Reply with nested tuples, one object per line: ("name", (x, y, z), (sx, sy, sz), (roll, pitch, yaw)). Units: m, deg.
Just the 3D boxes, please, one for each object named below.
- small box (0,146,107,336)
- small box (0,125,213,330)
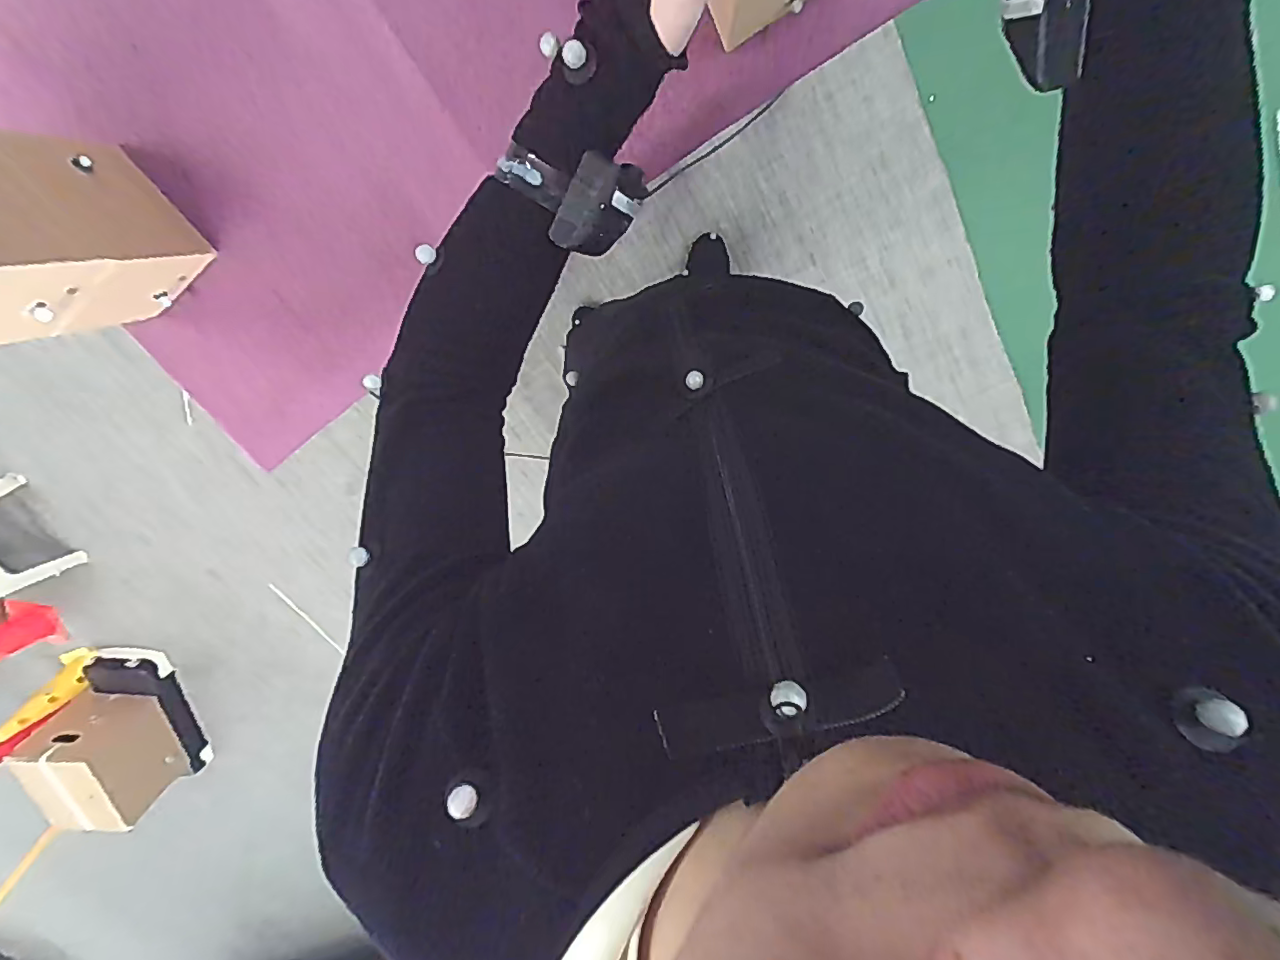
("small box", (-0.762, -0.262, 0.583), (0.168, 0.176, 0.179), (-31, 110, 19))
("small box", (-0.750, -0.332, 0.730), (0.168, 0.176, 0.179), (-30, 110, 18))
